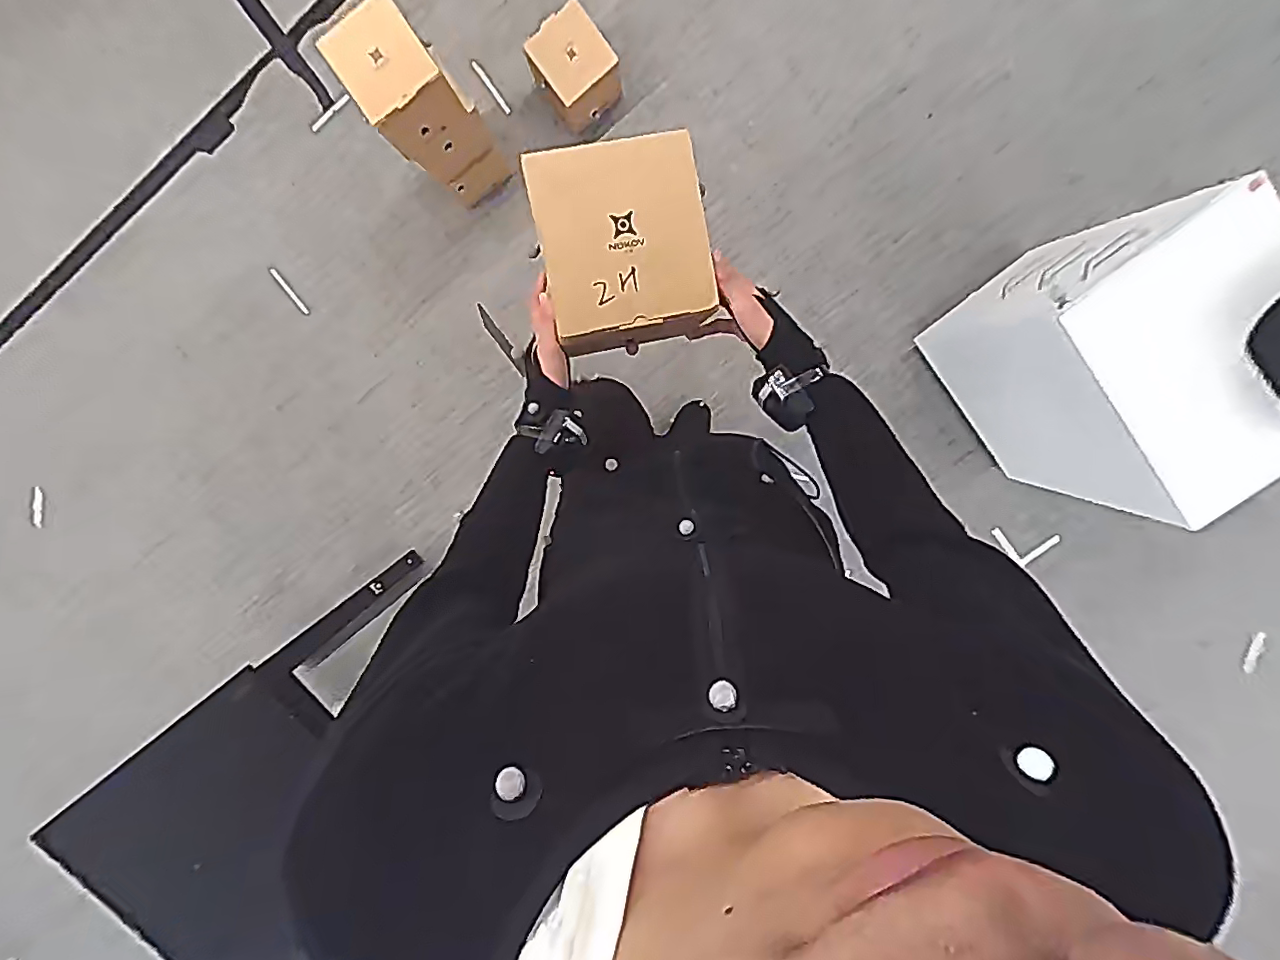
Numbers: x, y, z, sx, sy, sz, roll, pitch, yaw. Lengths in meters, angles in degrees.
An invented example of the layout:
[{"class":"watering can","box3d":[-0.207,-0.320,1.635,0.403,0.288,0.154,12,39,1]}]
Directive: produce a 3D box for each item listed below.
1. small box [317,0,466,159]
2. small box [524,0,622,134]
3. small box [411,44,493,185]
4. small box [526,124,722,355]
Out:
[{"class":"small box","box3d":[-0.481,-0.790,1.076,0.168,0.176,0.179,-35,99,6]},{"class":"small box","box3d":[-0.161,-1.026,1.362,0.168,0.176,0.179,-38,99,8]},{"class":"small box","box3d":[-0.467,-0.819,1.235,0.179,0.176,0.168,-37,98,6]},{"class":"small box","box3d":[-0.022,-0.247,0.595,0.168,0.176,0.179,-12,97,-4]}]
